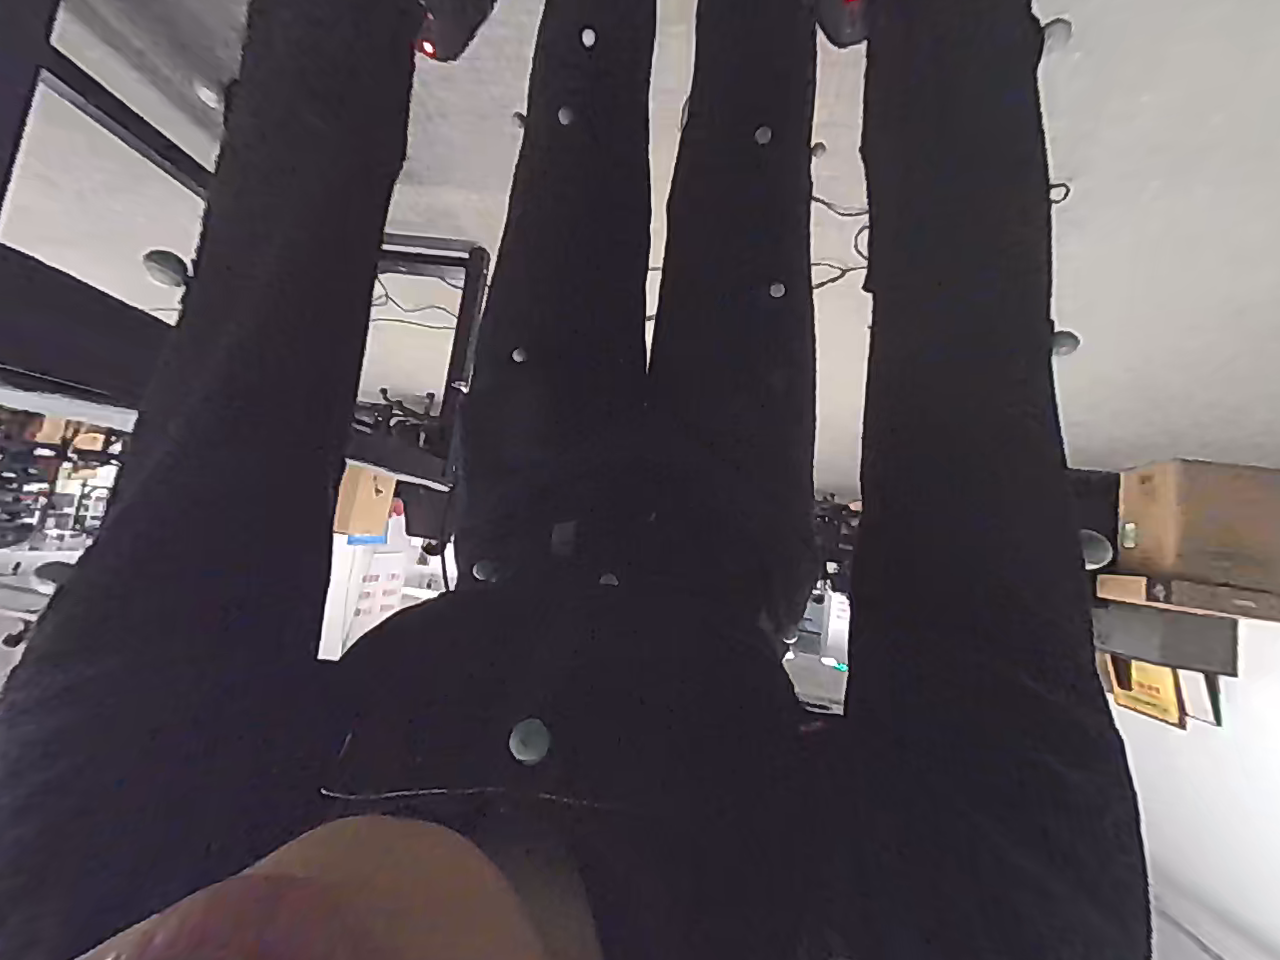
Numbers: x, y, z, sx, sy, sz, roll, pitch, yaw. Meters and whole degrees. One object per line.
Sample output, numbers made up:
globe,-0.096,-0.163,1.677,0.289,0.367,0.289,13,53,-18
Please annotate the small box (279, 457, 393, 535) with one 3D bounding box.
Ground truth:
small box,-0.761,0.041,1.371,0.179,0.176,0.168,9,174,5
